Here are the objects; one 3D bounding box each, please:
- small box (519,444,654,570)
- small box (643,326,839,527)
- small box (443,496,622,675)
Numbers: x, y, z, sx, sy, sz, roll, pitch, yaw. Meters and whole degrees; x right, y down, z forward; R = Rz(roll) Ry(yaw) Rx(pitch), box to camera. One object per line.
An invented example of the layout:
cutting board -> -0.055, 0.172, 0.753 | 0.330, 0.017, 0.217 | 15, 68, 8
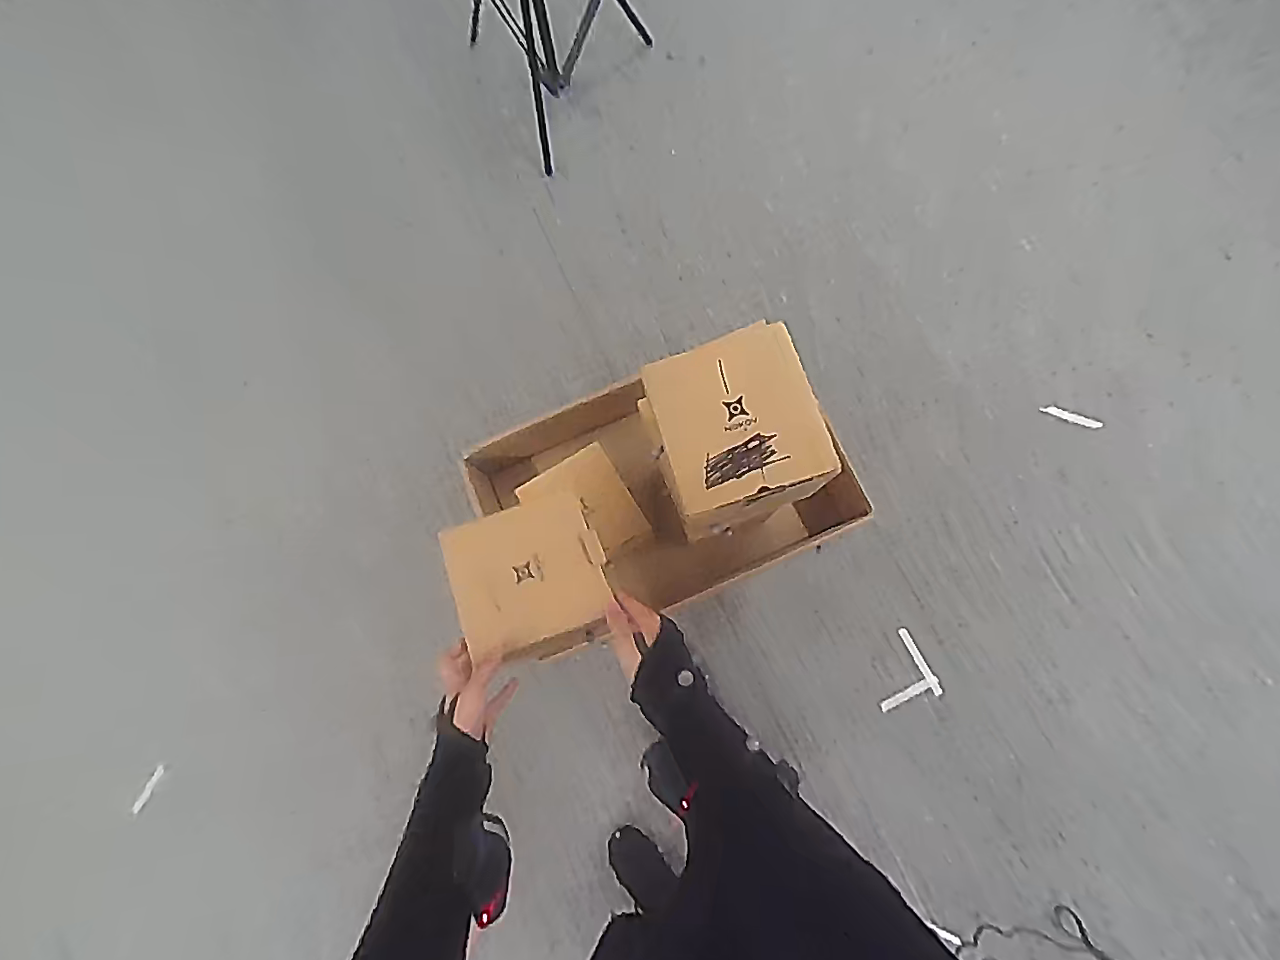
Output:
small box -> -0.089, 0.068, 0.967 | 0.168, 0.176, 0.179 | -31, 78, -4
small box -> 0.112, -0.048, 0.644 | 0.168, 0.176, 0.179 | -17, 77, 2
small box -> -0.132, 0.143, 0.703 | 0.179, 0.176, 0.168 | -18, 71, -9
